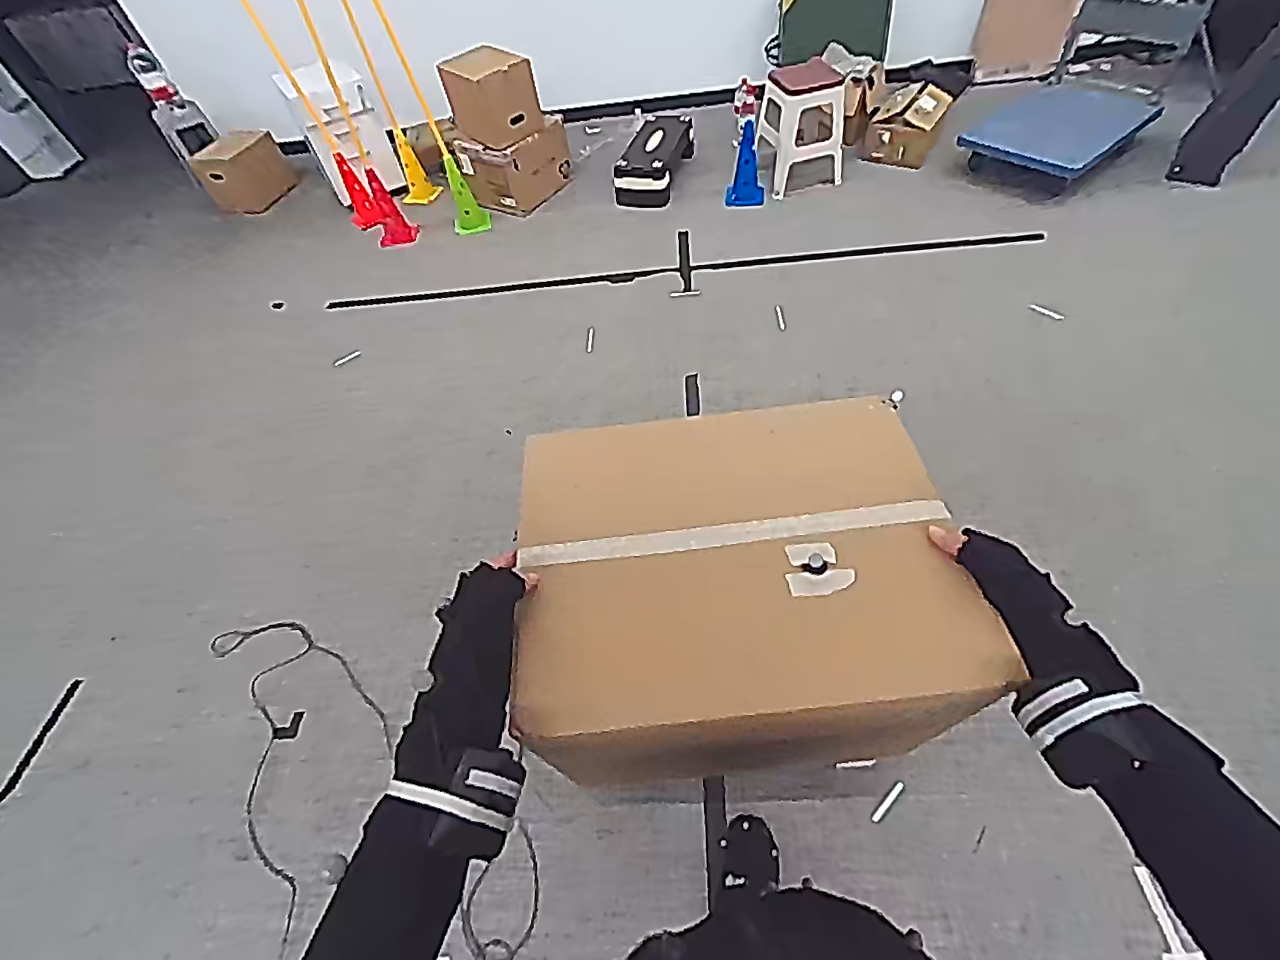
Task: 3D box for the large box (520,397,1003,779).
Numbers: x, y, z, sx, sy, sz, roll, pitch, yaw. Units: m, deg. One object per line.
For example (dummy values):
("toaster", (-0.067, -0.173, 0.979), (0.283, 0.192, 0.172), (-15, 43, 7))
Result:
("large box", (0.095, 0.139, 0.641), (0.408, 0.320, 0.320), (-7, 54, 1))
